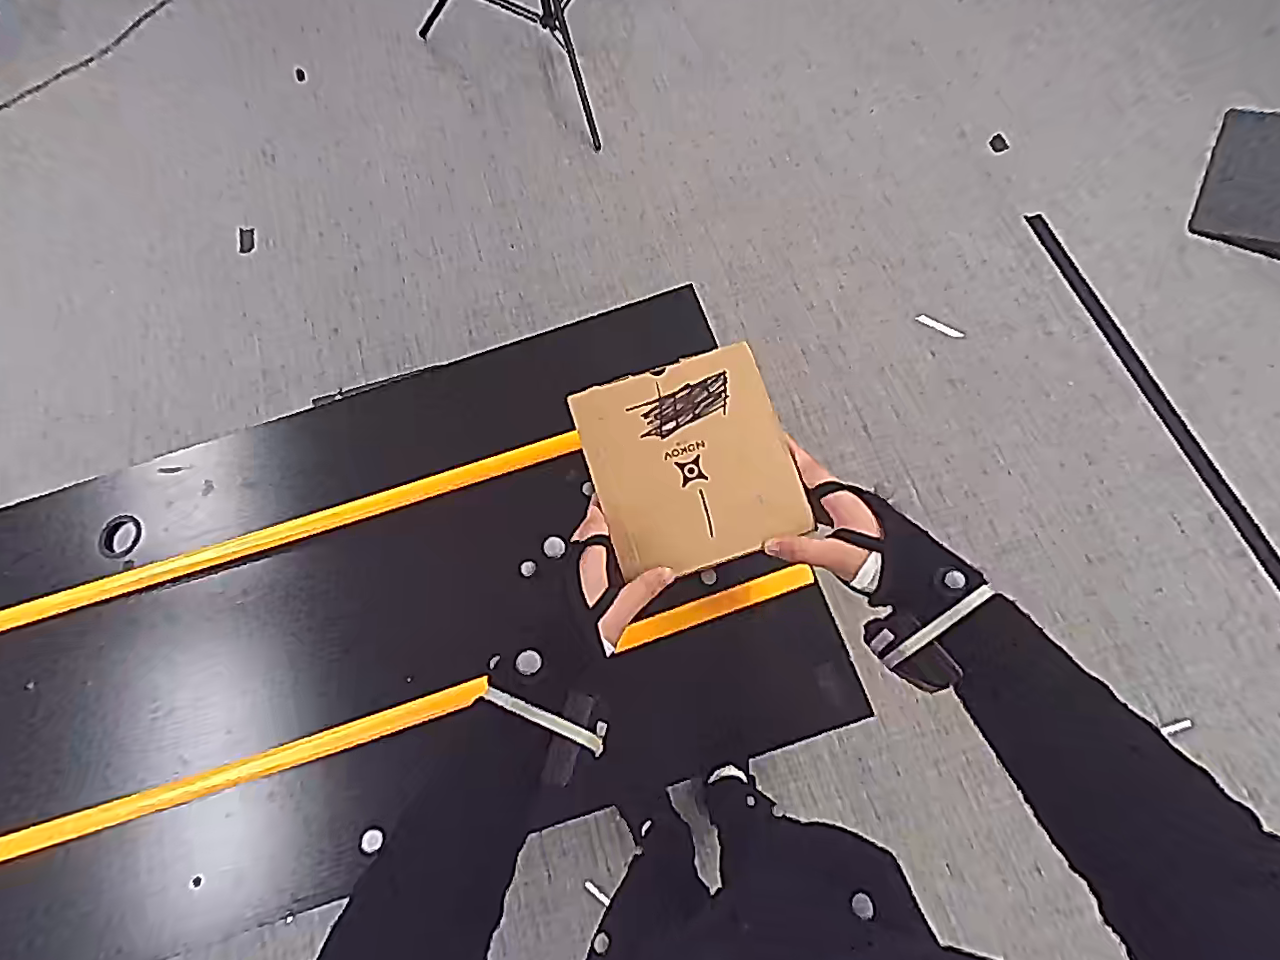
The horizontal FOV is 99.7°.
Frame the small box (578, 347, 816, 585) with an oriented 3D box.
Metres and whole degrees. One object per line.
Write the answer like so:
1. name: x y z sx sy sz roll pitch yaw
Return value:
1. small box: 0.047 0.000 0.540 0.168 0.176 0.179 -18 79 -1
